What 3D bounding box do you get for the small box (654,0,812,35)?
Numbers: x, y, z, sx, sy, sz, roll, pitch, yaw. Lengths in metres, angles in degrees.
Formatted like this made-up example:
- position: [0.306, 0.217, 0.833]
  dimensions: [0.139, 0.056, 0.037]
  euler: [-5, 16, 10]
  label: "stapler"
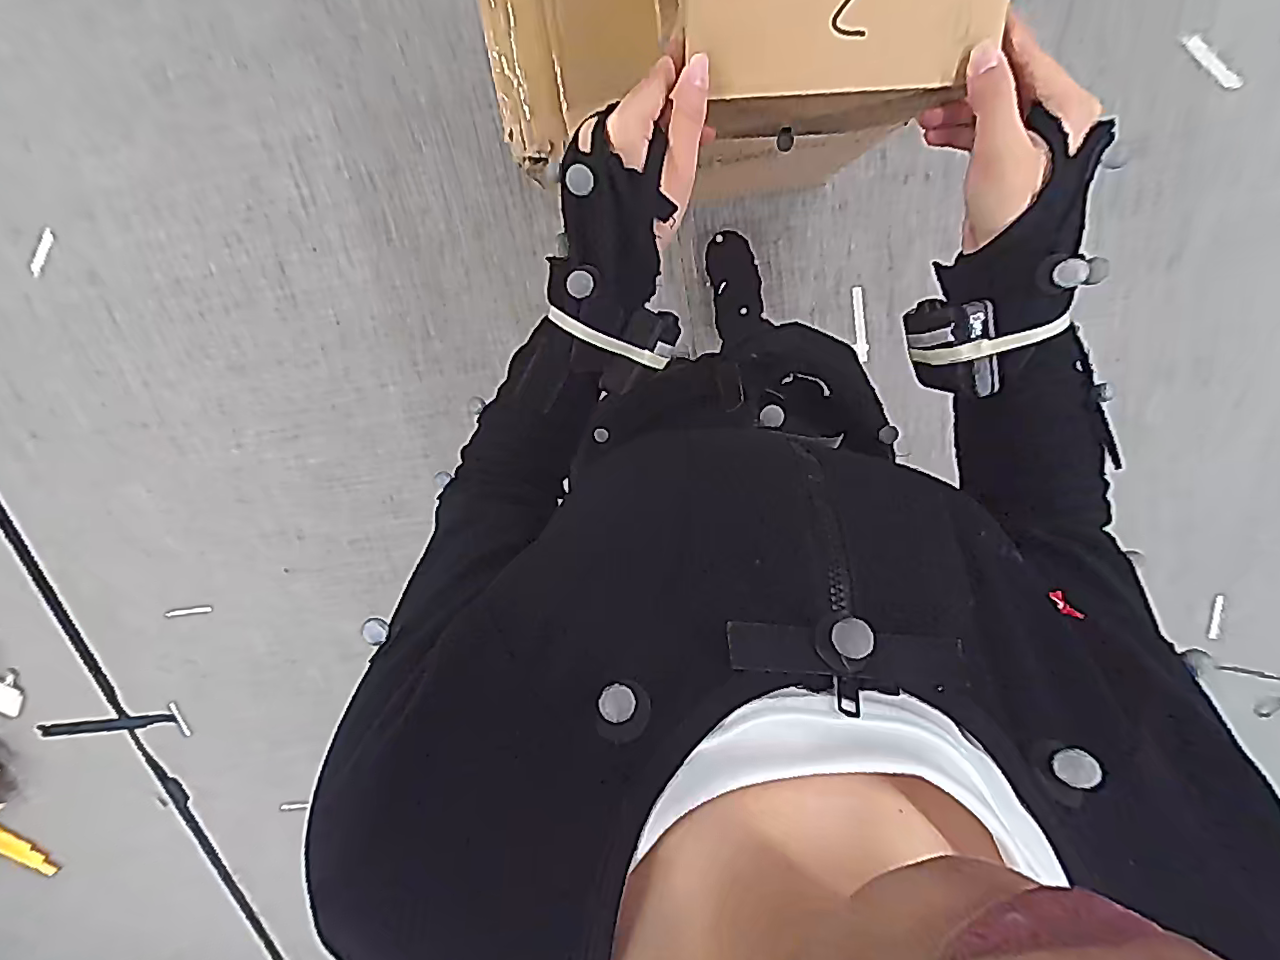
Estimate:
- position: [0.089, -0.539, 0.480]
  dimensions: [0.179, 0.176, 0.168]
  euler: [-8, 109, 5]
  label: "small box"
